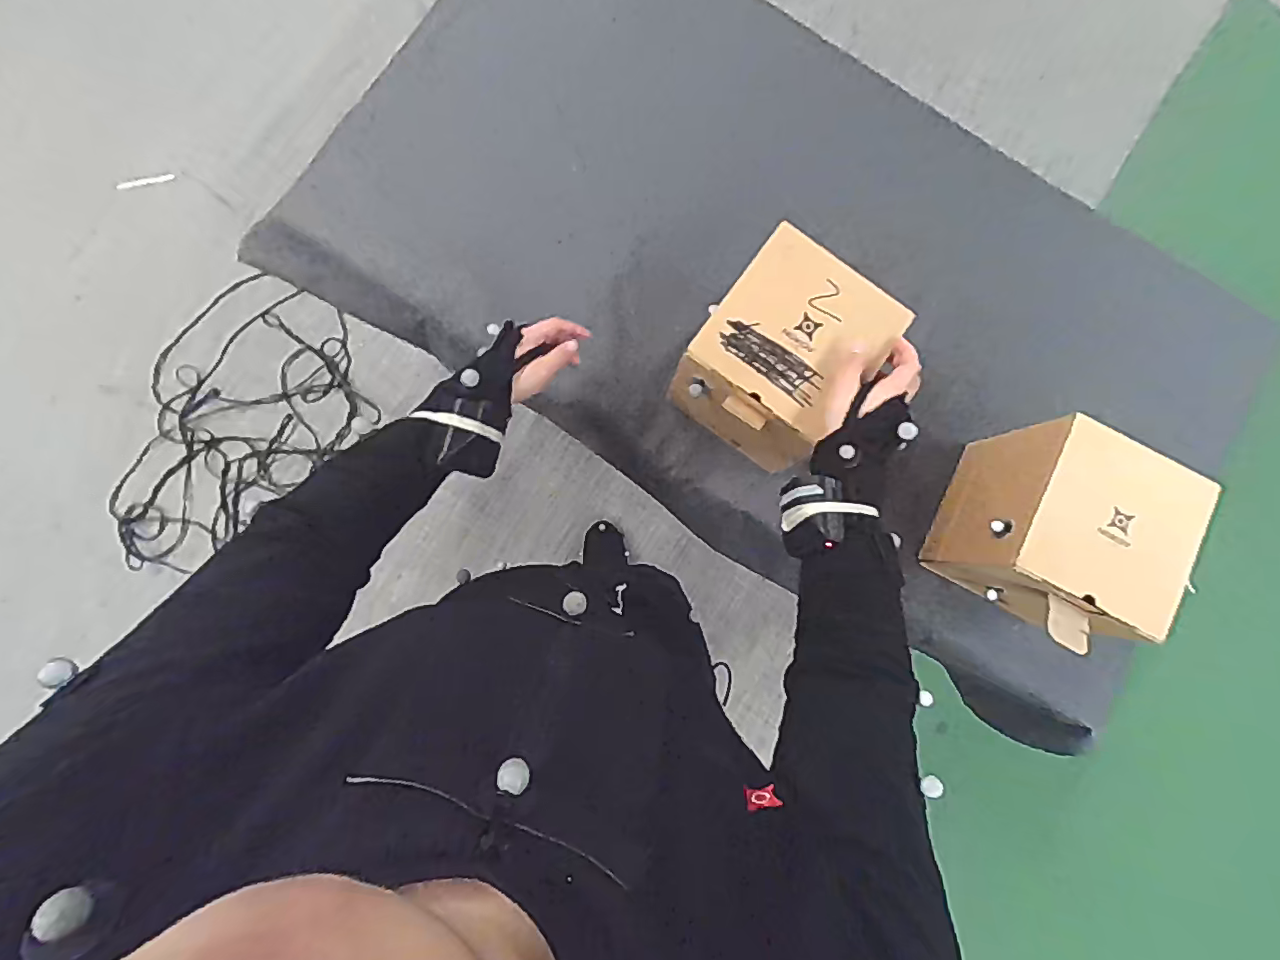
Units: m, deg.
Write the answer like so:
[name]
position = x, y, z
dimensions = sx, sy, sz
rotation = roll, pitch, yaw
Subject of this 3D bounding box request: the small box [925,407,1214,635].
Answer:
[small box]
position = 0.463, 0.046, 0.611
dimensions = 0.168, 0.176, 0.179
rotation = 27, 83, 0
